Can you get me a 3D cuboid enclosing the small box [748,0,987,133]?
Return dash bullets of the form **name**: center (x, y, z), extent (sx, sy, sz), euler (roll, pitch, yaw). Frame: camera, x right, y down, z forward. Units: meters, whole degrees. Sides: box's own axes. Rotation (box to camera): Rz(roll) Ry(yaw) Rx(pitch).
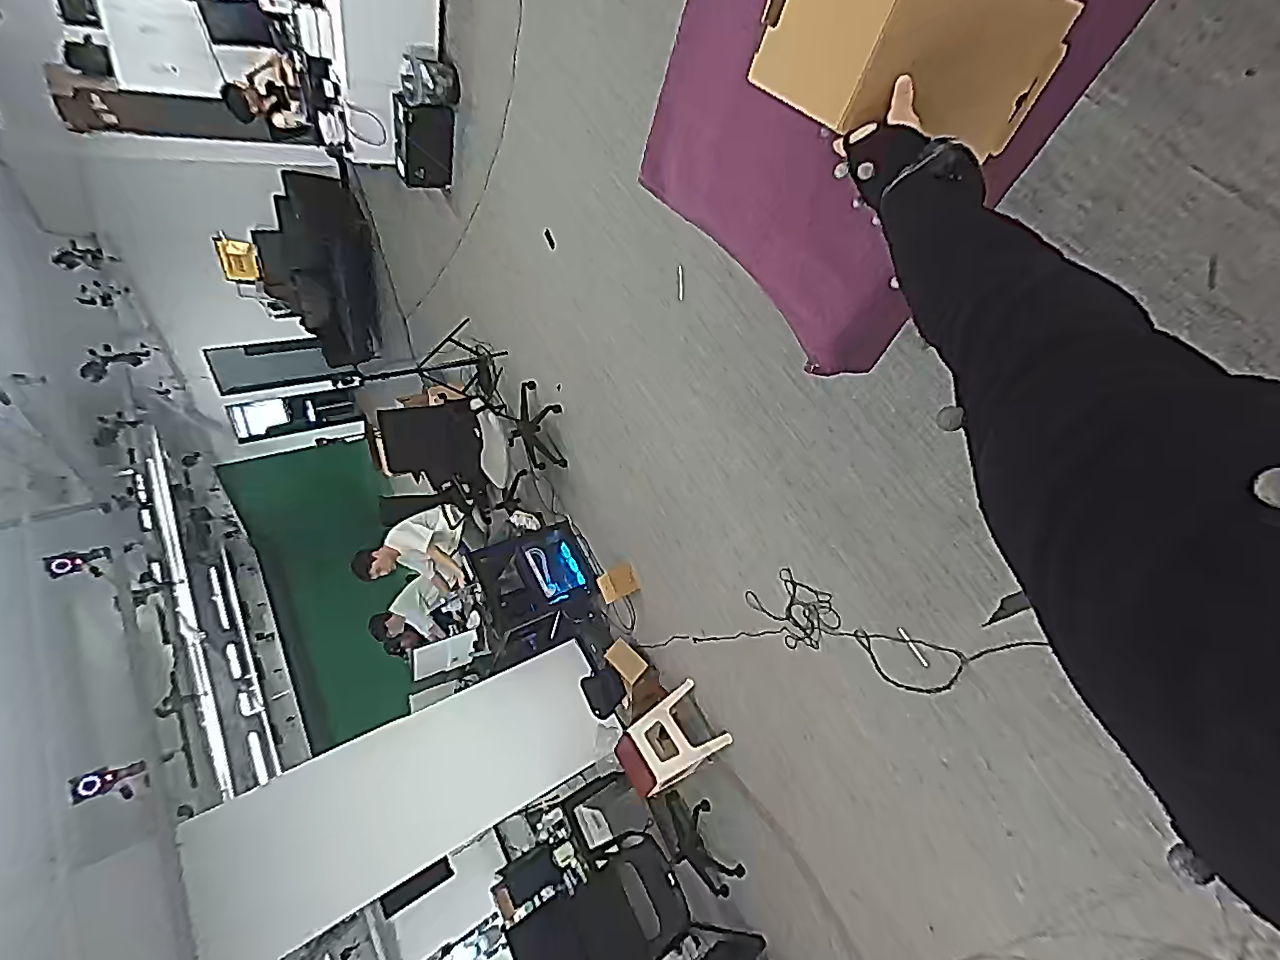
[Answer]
- **small box**: center (0.273, -0.546, 0.657), extent (0.179, 0.176, 0.168), euler (55, 144, 29)
